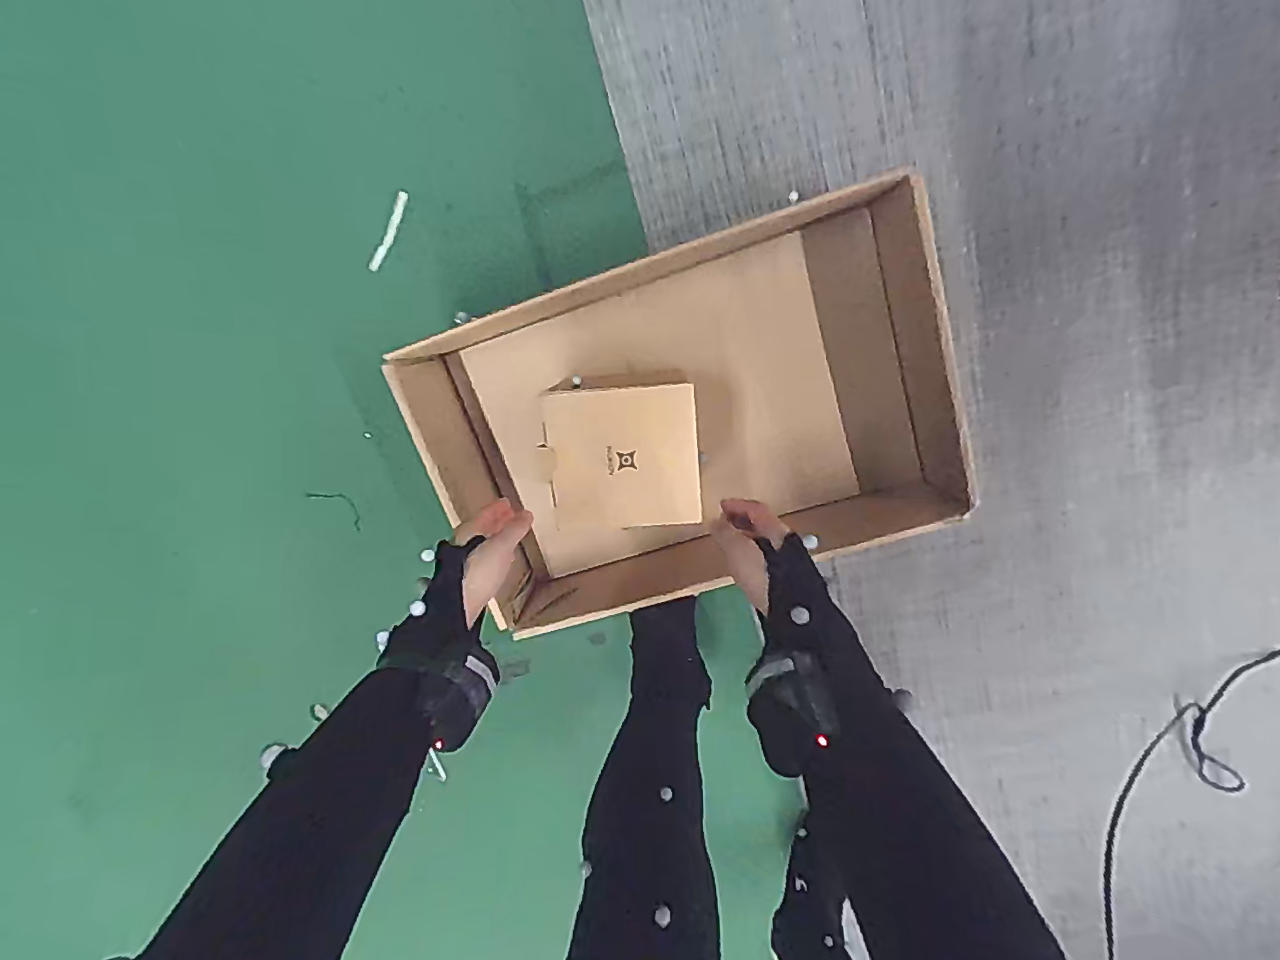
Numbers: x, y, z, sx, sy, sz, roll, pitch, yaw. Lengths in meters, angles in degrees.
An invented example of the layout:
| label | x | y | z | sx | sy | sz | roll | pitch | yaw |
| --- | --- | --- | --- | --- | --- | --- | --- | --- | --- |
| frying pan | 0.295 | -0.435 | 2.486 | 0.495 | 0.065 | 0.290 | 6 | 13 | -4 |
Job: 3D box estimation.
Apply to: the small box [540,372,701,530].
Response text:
| label | x | y | z | sx | sy | sz | roll | pitch | yaw |
| --- | --- | --- | --- | --- | --- | --- | --- | --- | --- |
| small box | -0.018 | -0.046 | 0.703 | 0.179 | 0.176 | 0.168 | -5 | 106 | 4 |
